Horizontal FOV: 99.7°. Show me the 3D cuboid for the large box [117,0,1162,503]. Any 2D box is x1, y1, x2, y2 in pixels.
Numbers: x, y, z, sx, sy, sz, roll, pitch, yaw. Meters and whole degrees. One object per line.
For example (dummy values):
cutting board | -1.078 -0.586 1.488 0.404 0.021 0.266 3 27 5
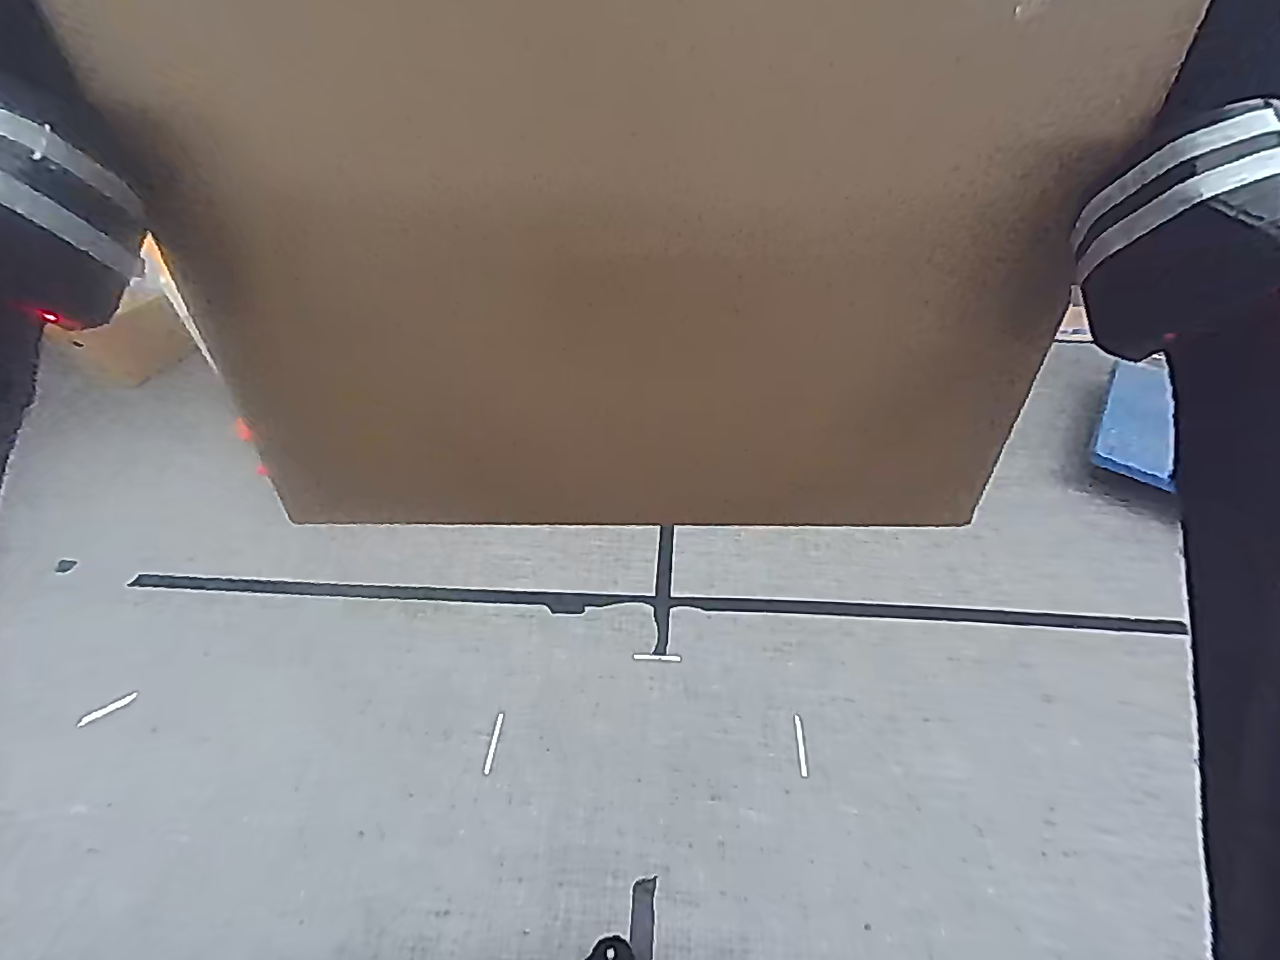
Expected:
large box | -0.003 -0.193 0.371 0.408 0.320 0.320 1 36 -1
